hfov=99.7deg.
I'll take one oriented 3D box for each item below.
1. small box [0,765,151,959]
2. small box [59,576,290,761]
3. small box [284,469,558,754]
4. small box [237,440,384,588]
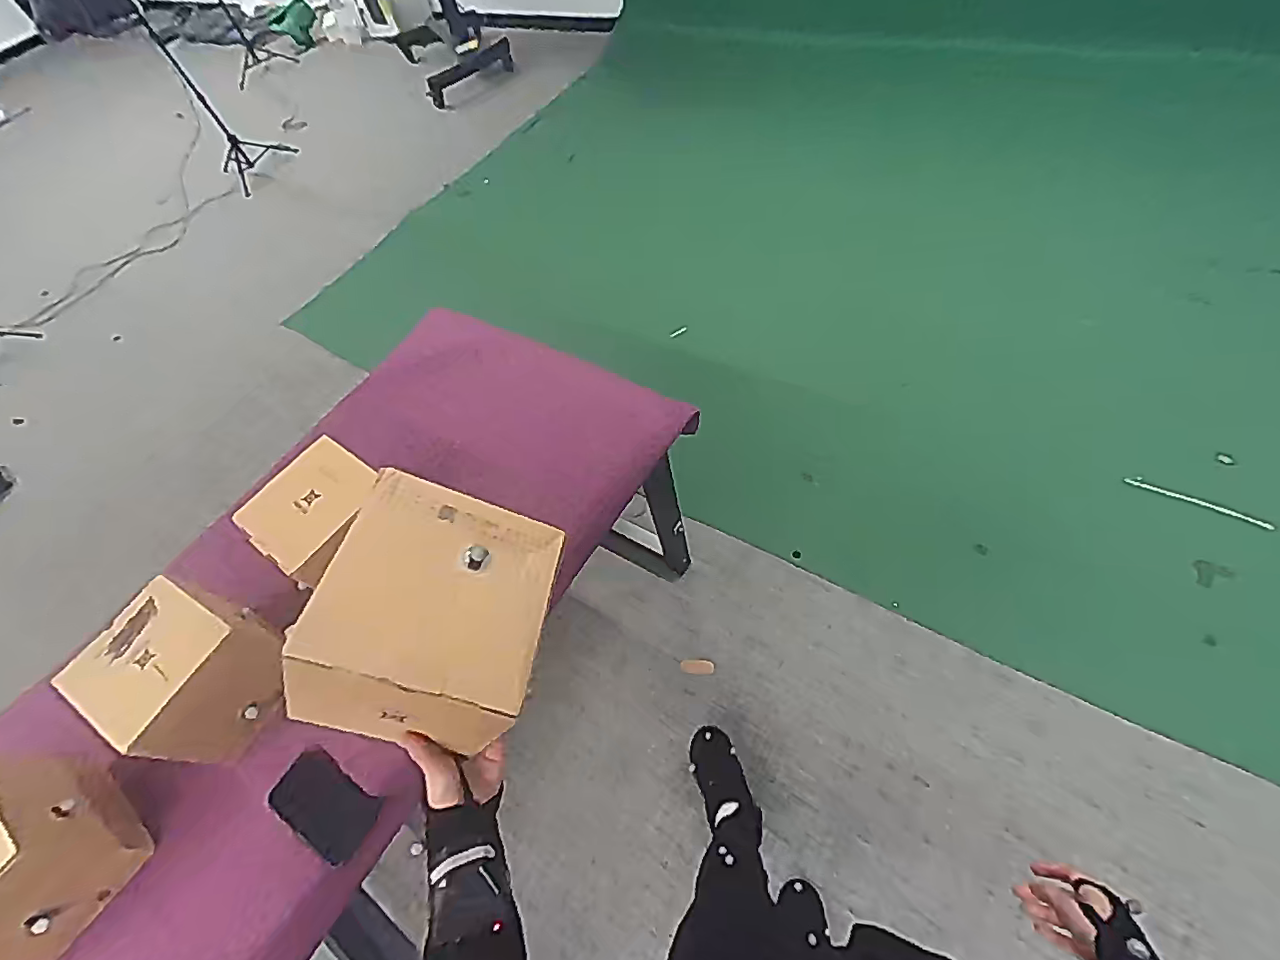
[{"bbox_3d":[-0.757,0.466,0.648,0.179,0.176,0.168,27,66,24],"label":"small box"},{"bbox_3d":[-0.609,0.266,0.749,0.179,0.176,0.168,22,64,22],"label":"small box"},{"bbox_3d":[-0.188,0.122,0.489,0.168,0.179,0.176,23,47,-14],"label":"small box"},{"bbox_3d":[-0.458,0.076,0.843,0.168,0.176,0.179,30,67,25],"label":"small box"}]
